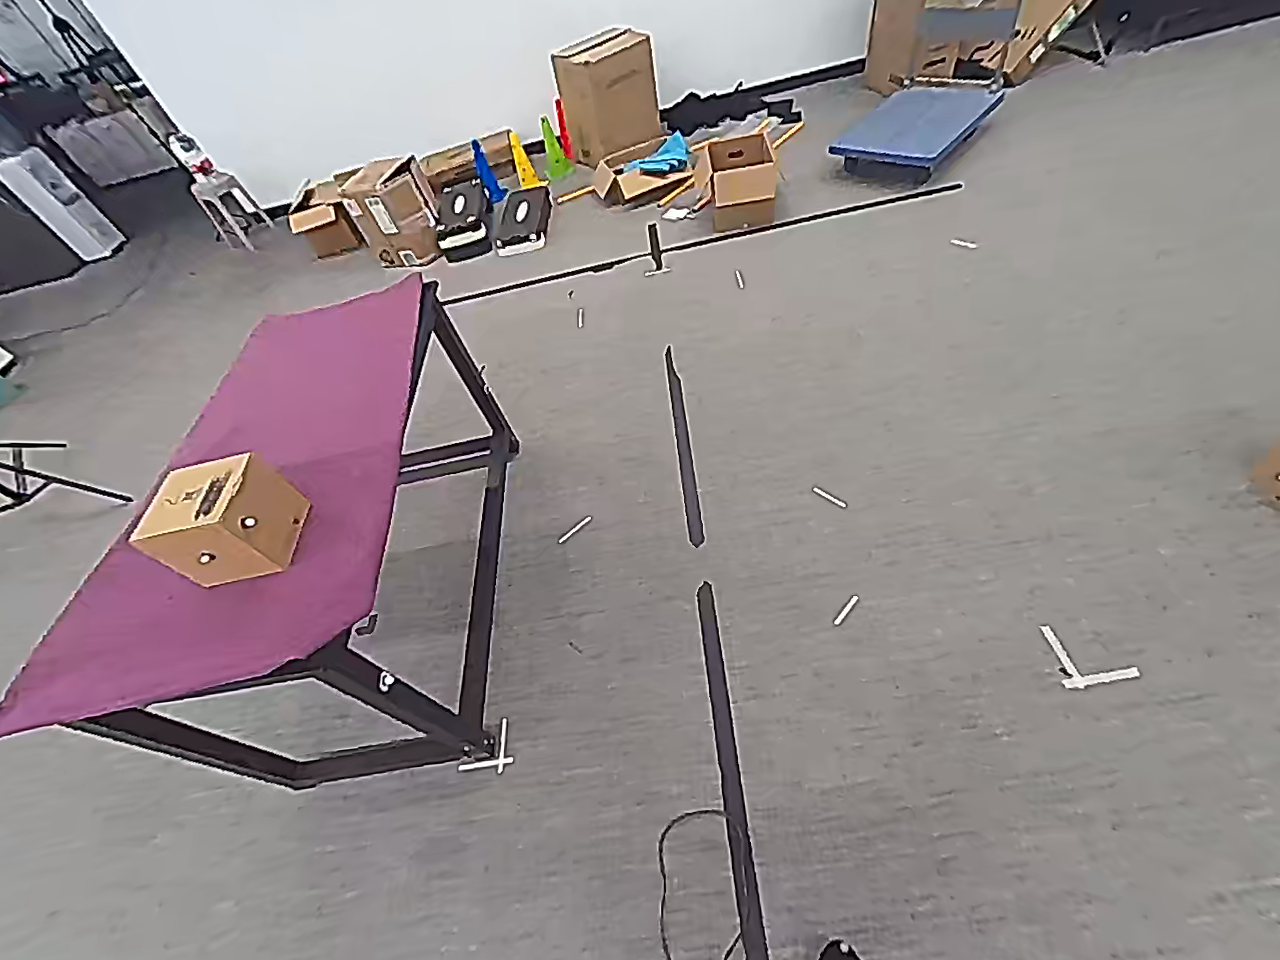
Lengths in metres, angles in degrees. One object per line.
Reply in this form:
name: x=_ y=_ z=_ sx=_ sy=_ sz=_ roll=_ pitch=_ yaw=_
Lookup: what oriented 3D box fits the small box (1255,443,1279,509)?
small box: x=1.798 y=-0.010 z=1.419 sx=0.179 sy=0.176 sz=0.168 roll=-8 pitch=50 yaw=7
